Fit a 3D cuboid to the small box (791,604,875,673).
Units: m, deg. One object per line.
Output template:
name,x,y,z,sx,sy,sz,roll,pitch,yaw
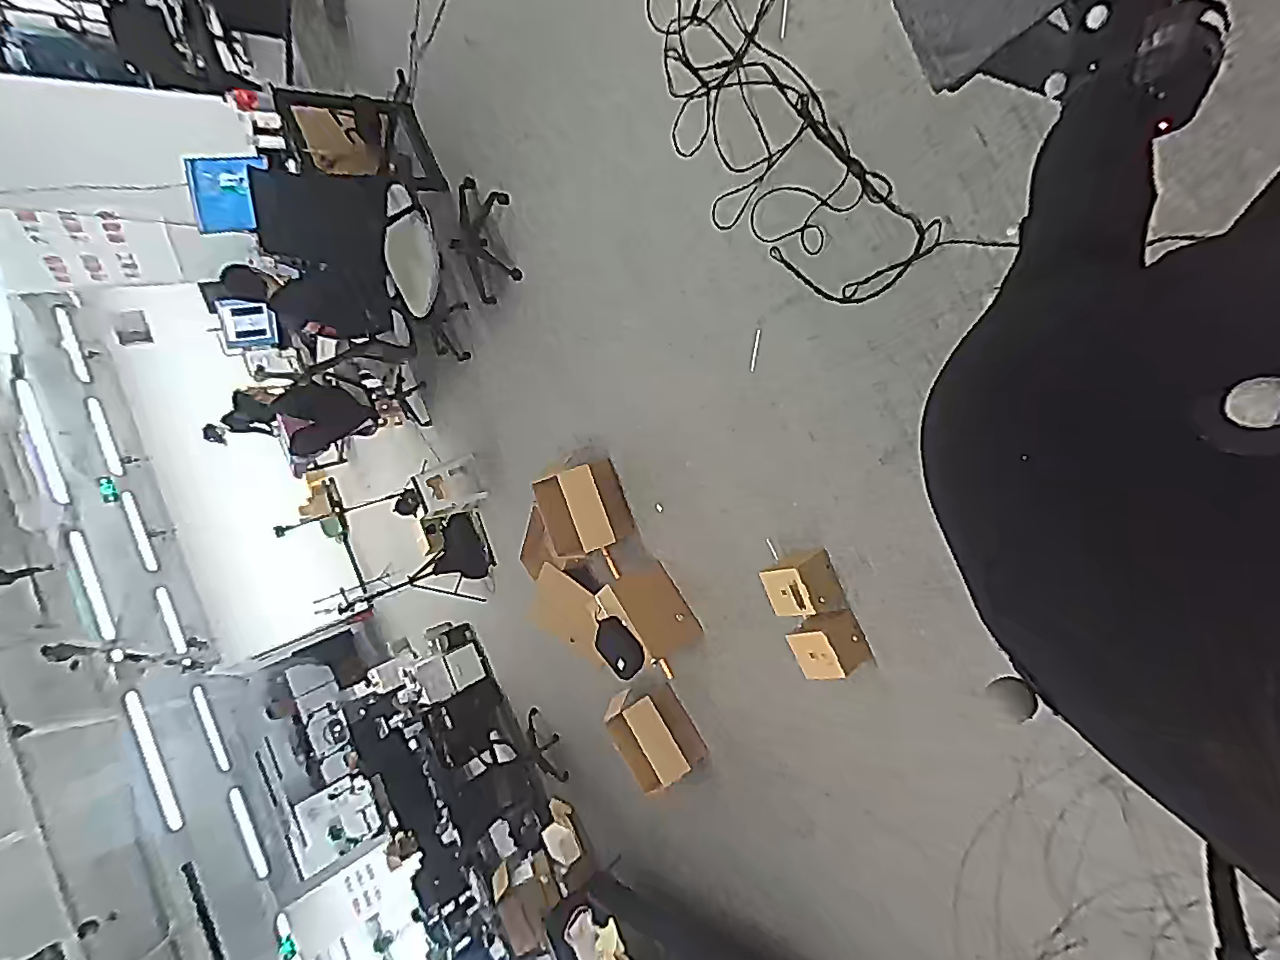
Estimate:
small box,0.660,0.541,1.845,0.179,0.176,0.168,-33,81,54
